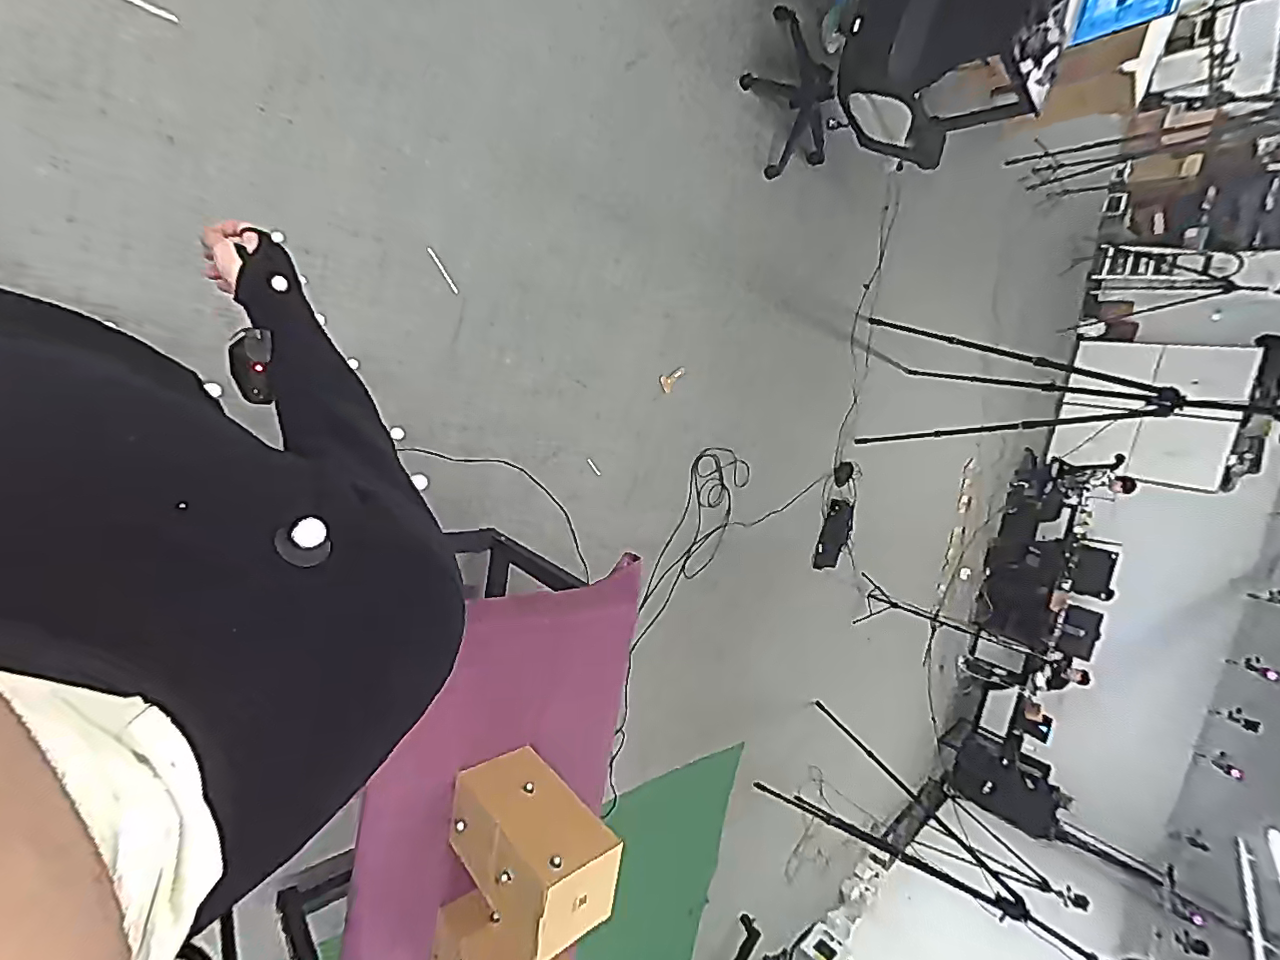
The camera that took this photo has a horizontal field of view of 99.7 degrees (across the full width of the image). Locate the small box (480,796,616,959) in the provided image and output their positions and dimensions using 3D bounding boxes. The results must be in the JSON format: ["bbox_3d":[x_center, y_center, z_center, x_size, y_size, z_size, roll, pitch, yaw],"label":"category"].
[{"bbox_3d":[-0.176,0.745,1.023,0.179,0.176,0.168,1,103,-44],"label":"small box"}]

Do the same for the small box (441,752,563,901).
[{"bbox_3d":[-0.290,0.709,1.133,0.179,0.176,0.168,2,101,-45],"label":"small box"}]
